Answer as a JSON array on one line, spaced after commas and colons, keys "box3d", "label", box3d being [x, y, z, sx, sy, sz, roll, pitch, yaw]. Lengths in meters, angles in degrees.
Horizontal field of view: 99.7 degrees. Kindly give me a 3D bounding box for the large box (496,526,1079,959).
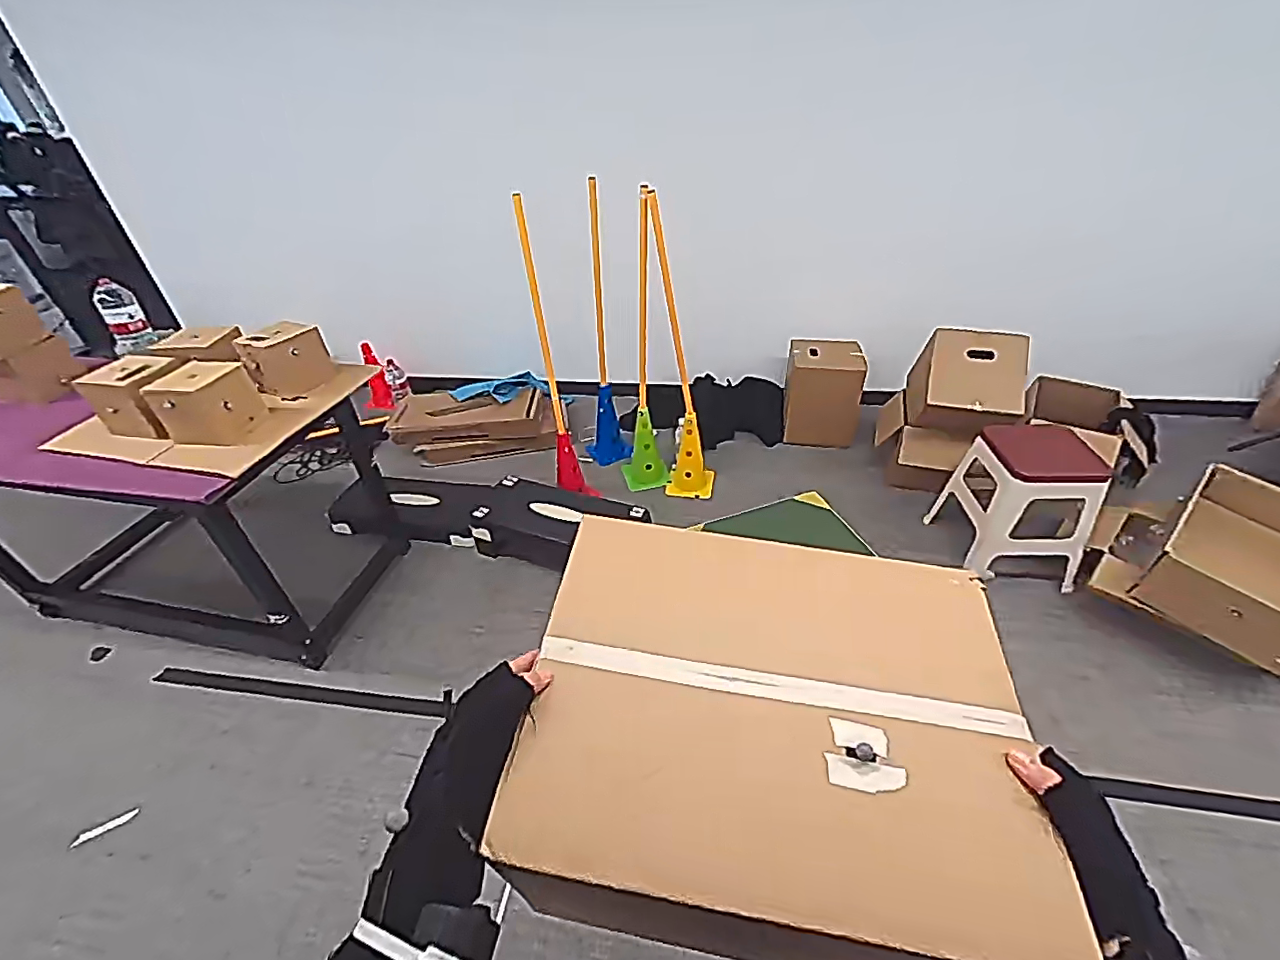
[{"box3d": [0.108, 0.284, 0.574, 0.408, 0.320, 0.320, 8, 47, 6], "label": "large box"}]
